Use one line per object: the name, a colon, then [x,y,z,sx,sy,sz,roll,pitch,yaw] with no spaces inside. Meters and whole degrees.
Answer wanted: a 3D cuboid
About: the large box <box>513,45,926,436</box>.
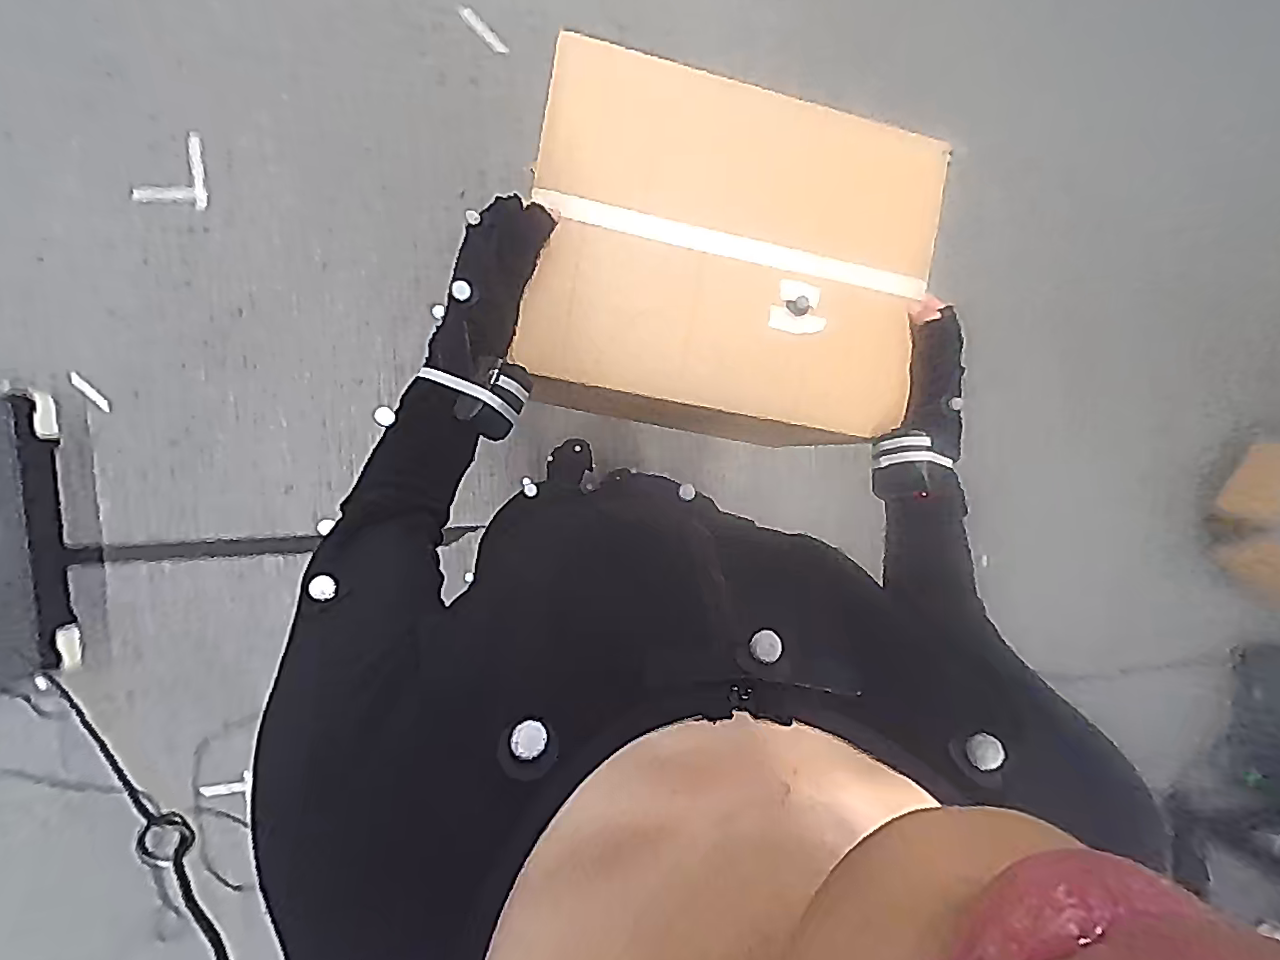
large box: [0.066,-0.240,0.686,0.408,0.320,0.320,8,91,-9]
